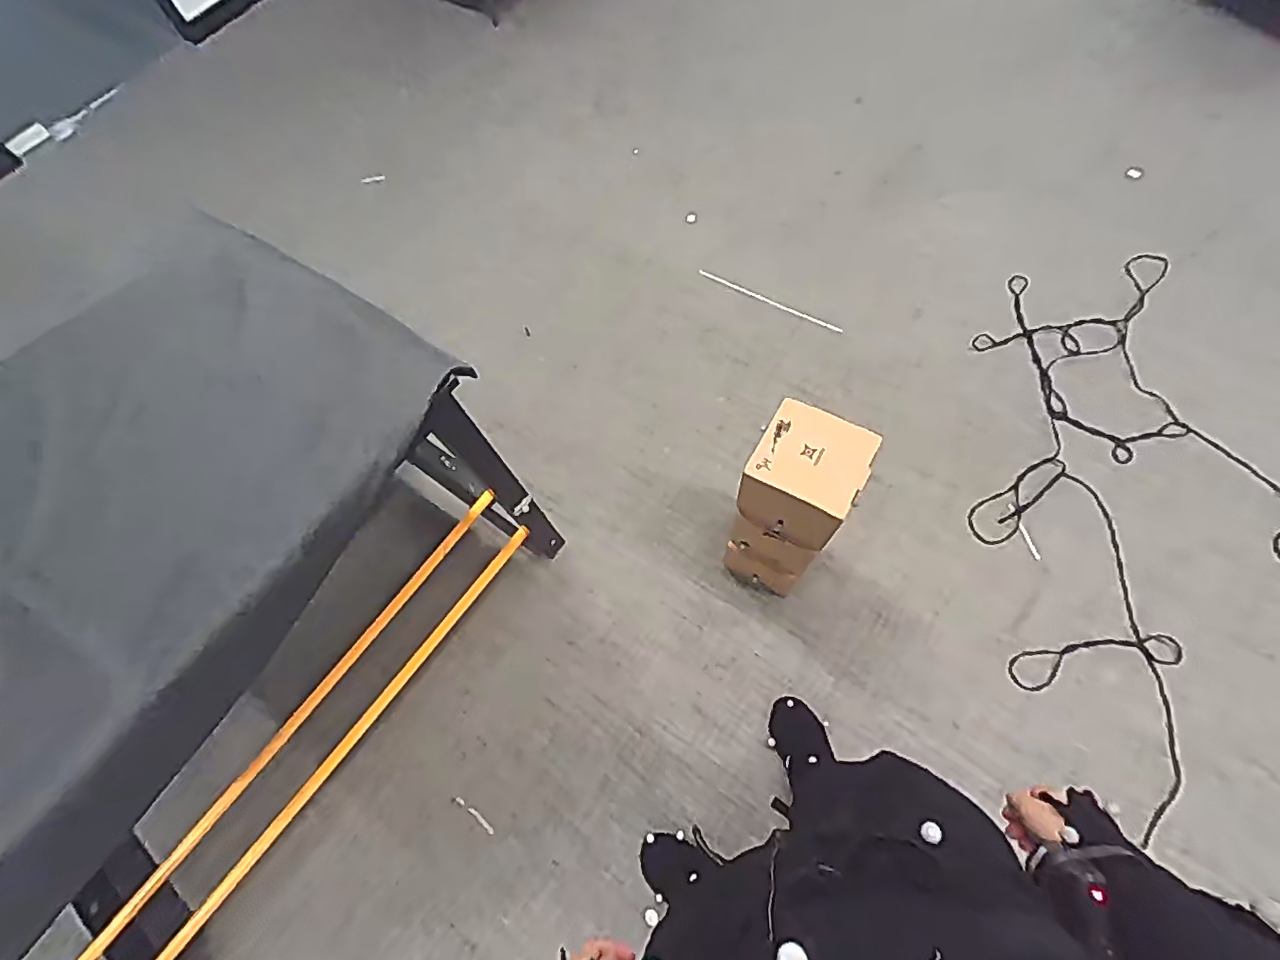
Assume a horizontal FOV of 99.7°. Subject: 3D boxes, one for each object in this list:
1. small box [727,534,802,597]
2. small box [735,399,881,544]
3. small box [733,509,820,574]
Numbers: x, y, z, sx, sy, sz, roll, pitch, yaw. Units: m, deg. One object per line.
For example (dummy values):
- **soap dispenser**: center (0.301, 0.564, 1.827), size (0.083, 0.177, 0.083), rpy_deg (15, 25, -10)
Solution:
- **small box**: center (0.308, 0.144, 1.246), size (0.168, 0.176, 0.179), rpy_deg (26, 71, 17)
- **small box**: center (0.286, -0.005, 0.953), size (0.179, 0.176, 0.168), rpy_deg (28, 70, 16)
- **small box**: center (0.300, 0.067, 1.101), size (0.168, 0.176, 0.179), rpy_deg (27, 70, 16)
